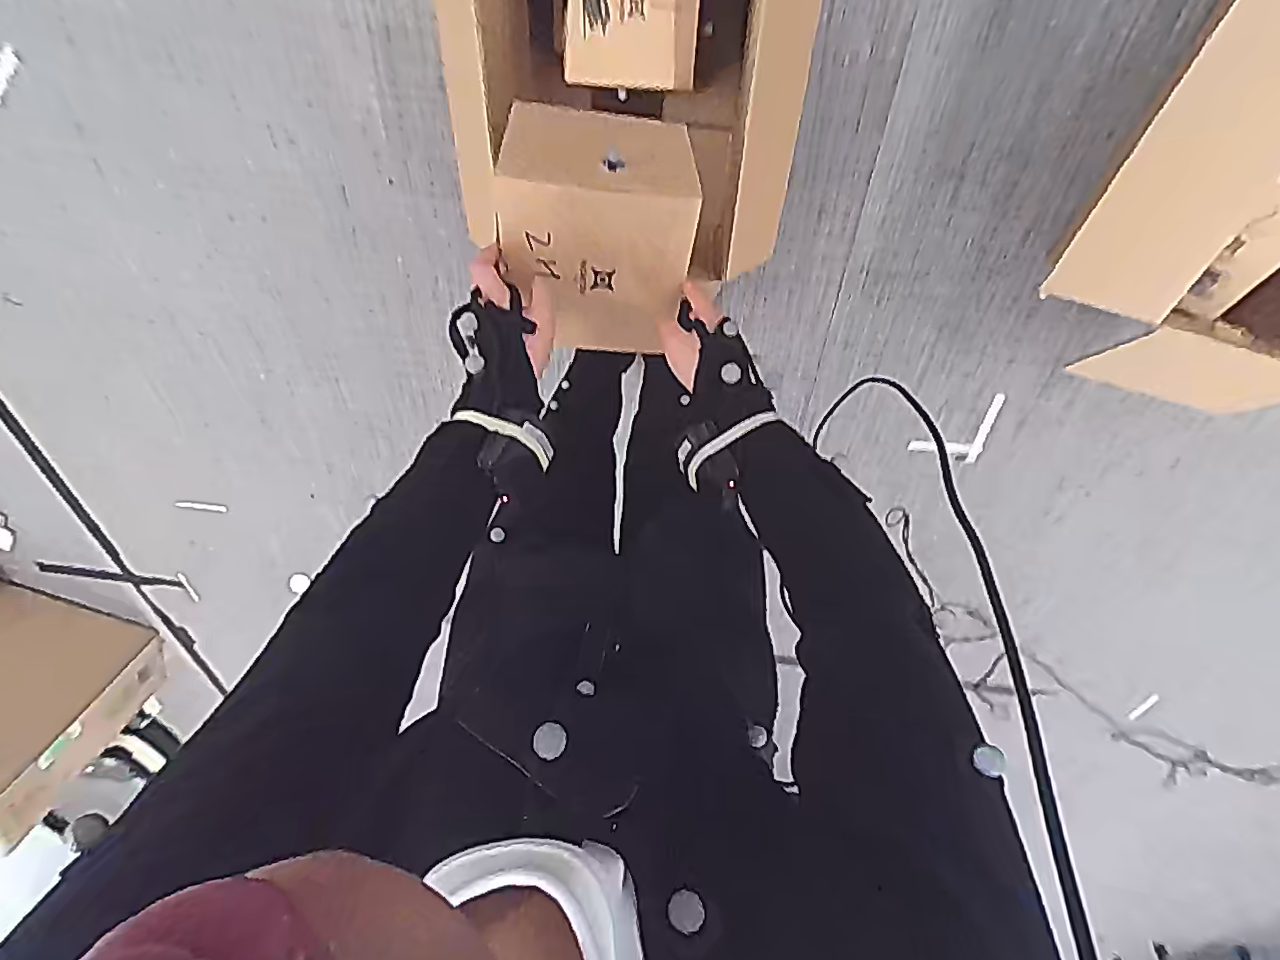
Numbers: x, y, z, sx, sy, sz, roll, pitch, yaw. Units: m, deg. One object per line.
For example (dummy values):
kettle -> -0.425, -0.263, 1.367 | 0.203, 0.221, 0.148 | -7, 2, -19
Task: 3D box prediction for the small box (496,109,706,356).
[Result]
small box -> -0.043, -0.249, 0.549 | 0.179, 0.176, 0.168 | 3, 141, -7
